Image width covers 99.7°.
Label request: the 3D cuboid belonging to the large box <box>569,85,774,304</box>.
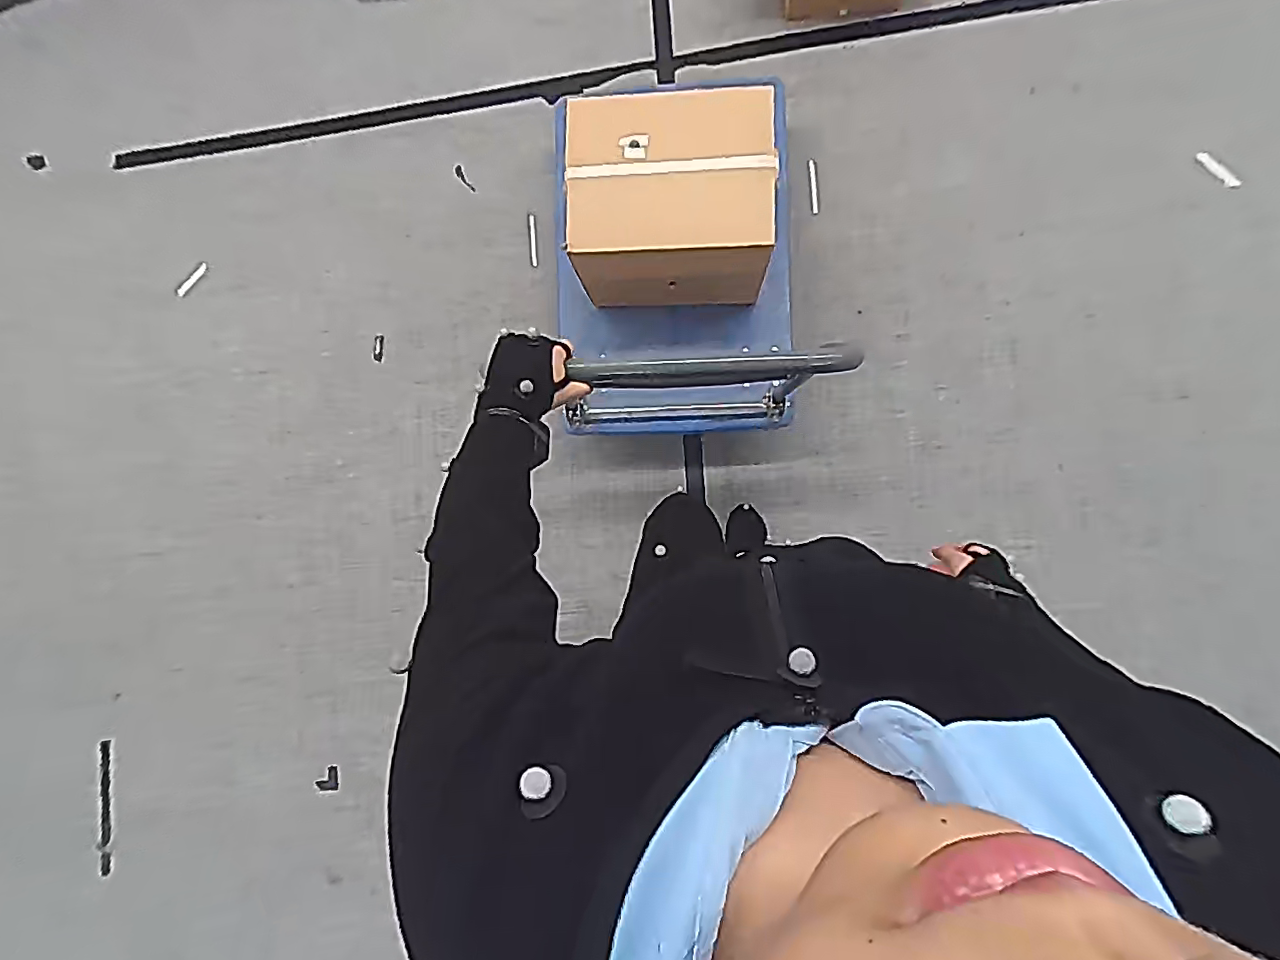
[{"bbox_3d":[0.075,-0.600,1.205,0.408,0.320,0.320,0,87,7],"label":"large box"}]
